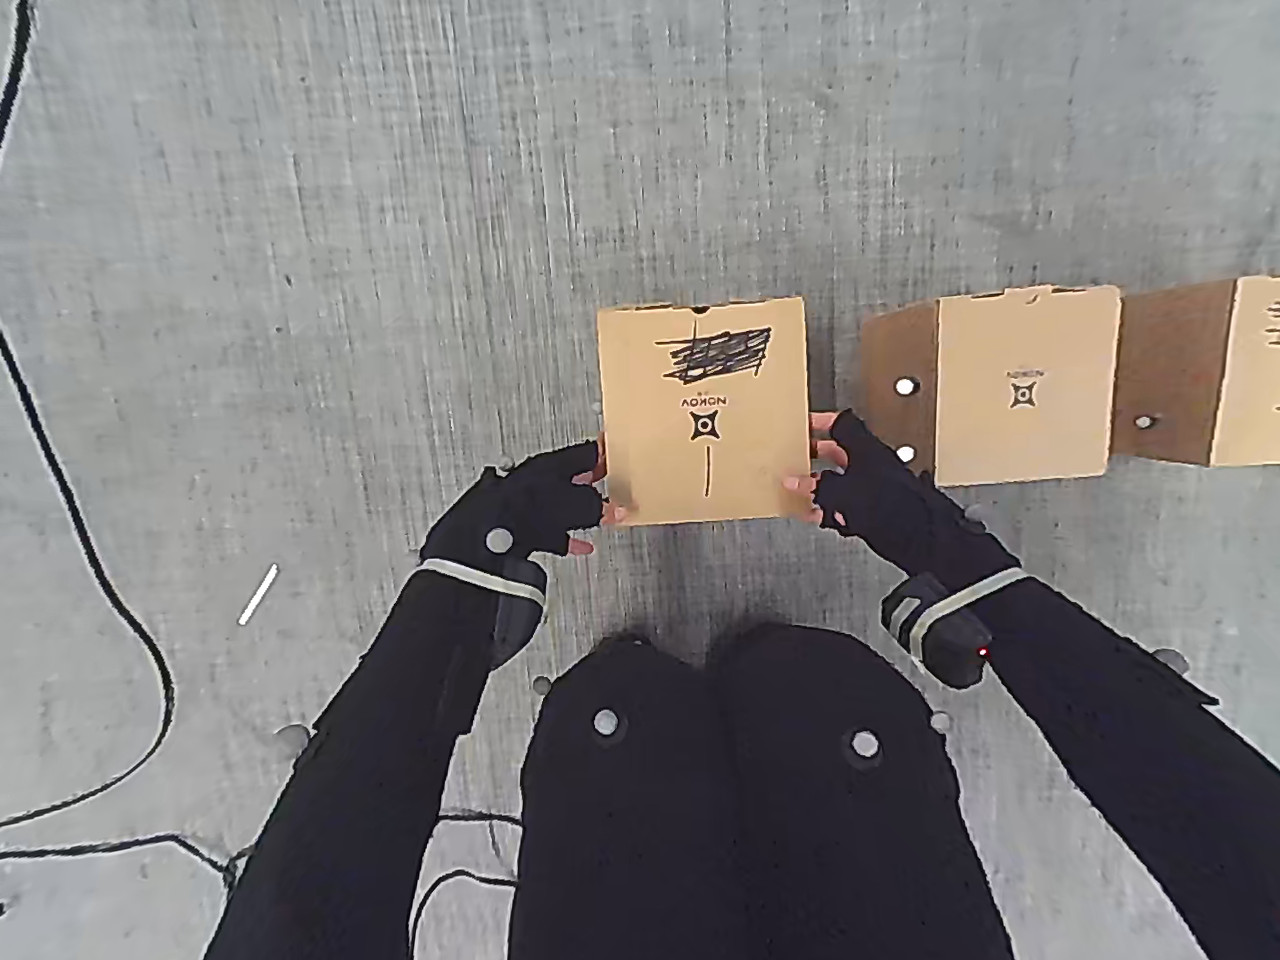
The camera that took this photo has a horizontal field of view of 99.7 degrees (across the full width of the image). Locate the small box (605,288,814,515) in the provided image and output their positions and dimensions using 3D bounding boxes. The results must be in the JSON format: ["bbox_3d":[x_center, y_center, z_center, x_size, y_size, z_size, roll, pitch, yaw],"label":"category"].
[{"bbox_3d":[0.055,-0.068,0.509,0.168,0.176,0.179,-3,96,1],"label":"small box"}]

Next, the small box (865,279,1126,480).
[{"bbox_3d":[0.354,-0.104,0.573,0.168,0.176,0.179,-4,100,1],"label":"small box"}]
